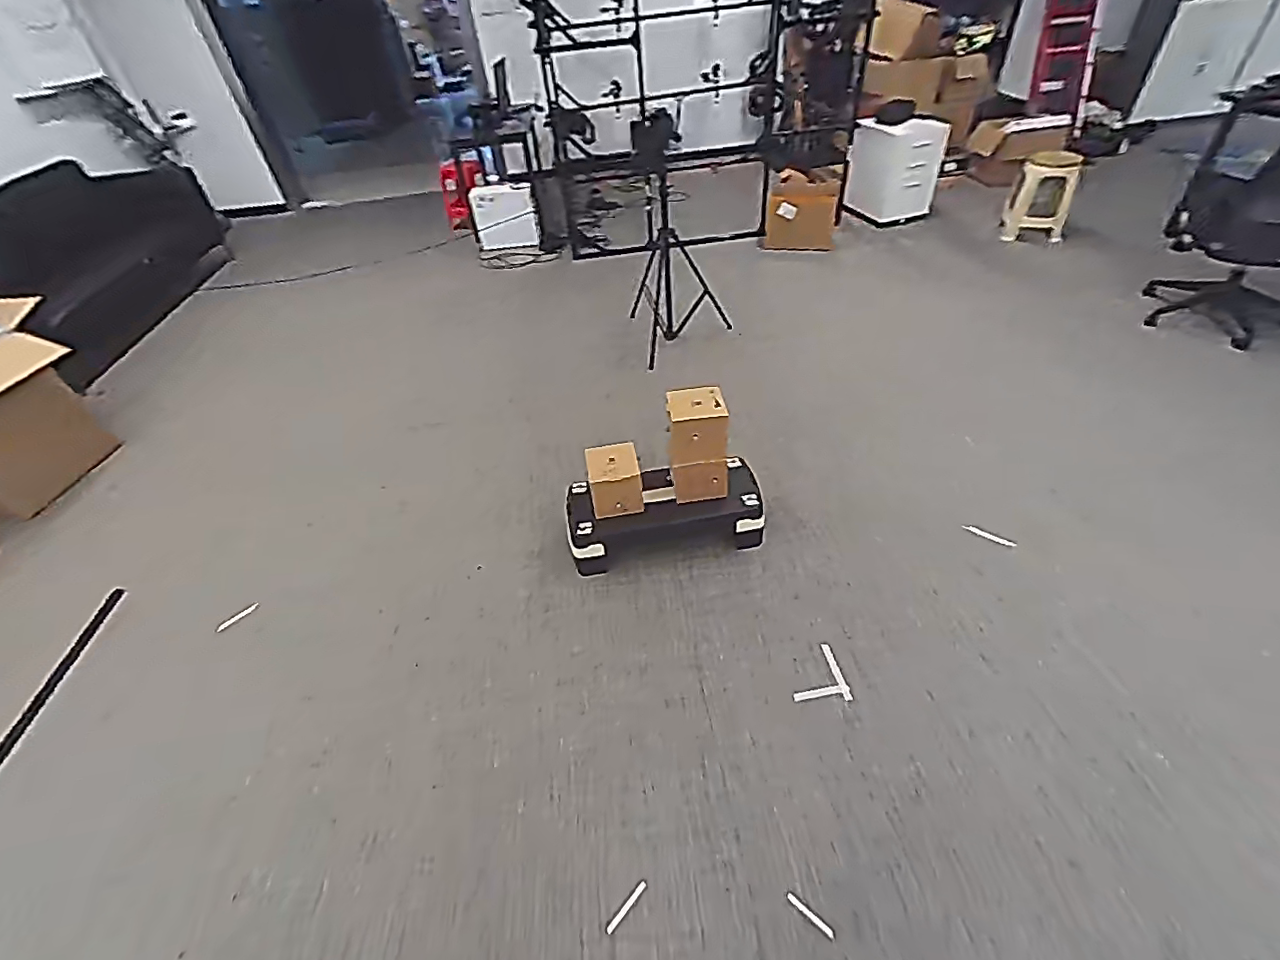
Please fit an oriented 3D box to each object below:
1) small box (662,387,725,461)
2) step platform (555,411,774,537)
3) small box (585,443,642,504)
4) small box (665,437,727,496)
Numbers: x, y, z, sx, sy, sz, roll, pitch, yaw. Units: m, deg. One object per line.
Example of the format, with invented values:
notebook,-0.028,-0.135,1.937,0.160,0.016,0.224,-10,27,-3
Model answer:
small box,0.173,-0.176,1.734,0.179,0.176,0.168,-8,43,0
step platform,0.076,-0.019,1.764,0.684,0.204,0.286,-9,42,-4
small box,-0.090,0.001,1.813,0.168,0.176,0.179,-10,43,-3
small box,0.186,-0.043,1.829,0.179,0.176,0.168,-9,42,-3
